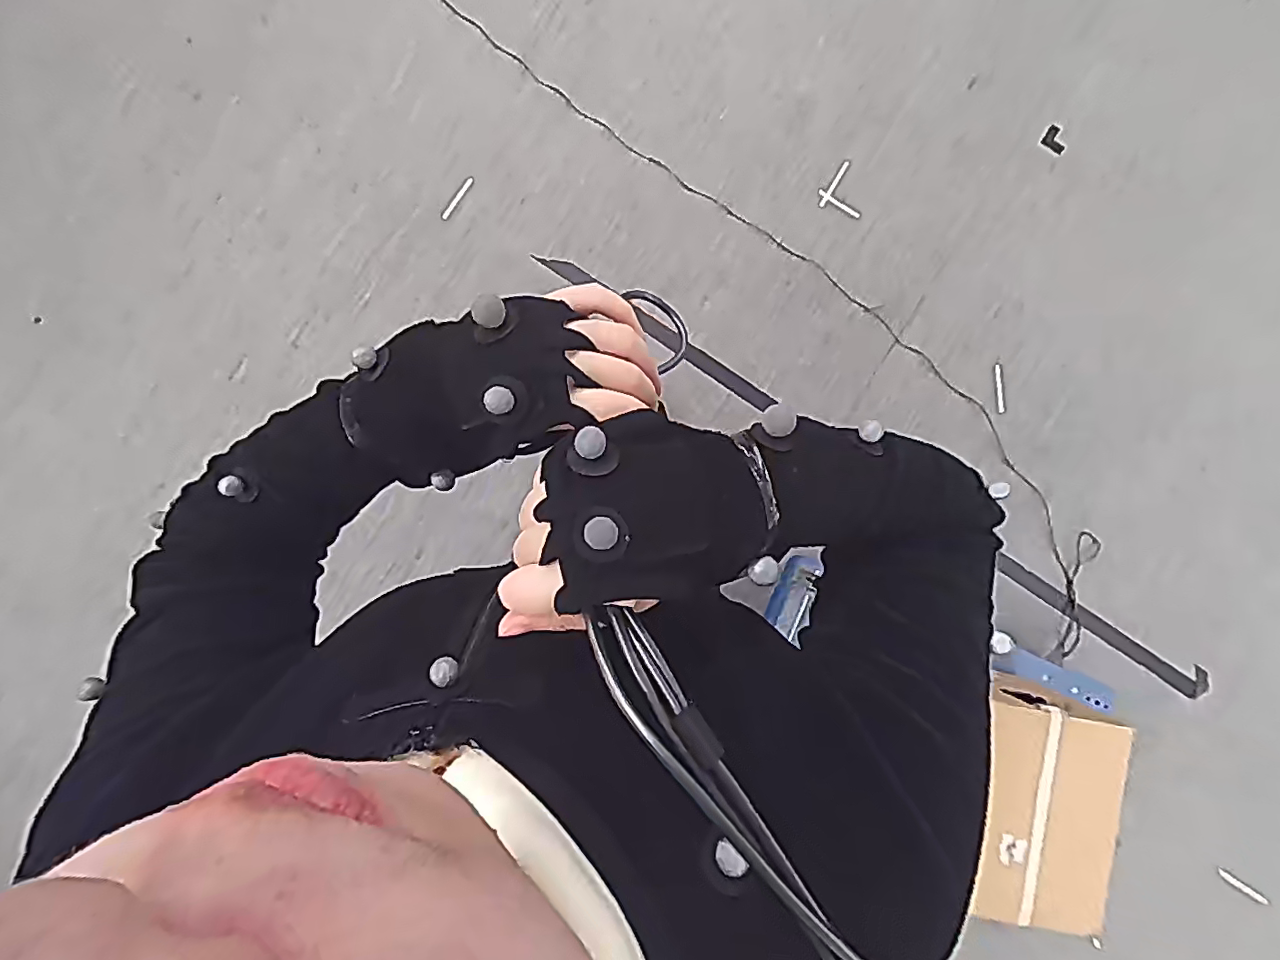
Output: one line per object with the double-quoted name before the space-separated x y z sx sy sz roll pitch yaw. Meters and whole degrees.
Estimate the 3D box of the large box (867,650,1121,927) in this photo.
"large box" 0.739 0.632 1.180 0.320 0.320 0.408 12 89 0
